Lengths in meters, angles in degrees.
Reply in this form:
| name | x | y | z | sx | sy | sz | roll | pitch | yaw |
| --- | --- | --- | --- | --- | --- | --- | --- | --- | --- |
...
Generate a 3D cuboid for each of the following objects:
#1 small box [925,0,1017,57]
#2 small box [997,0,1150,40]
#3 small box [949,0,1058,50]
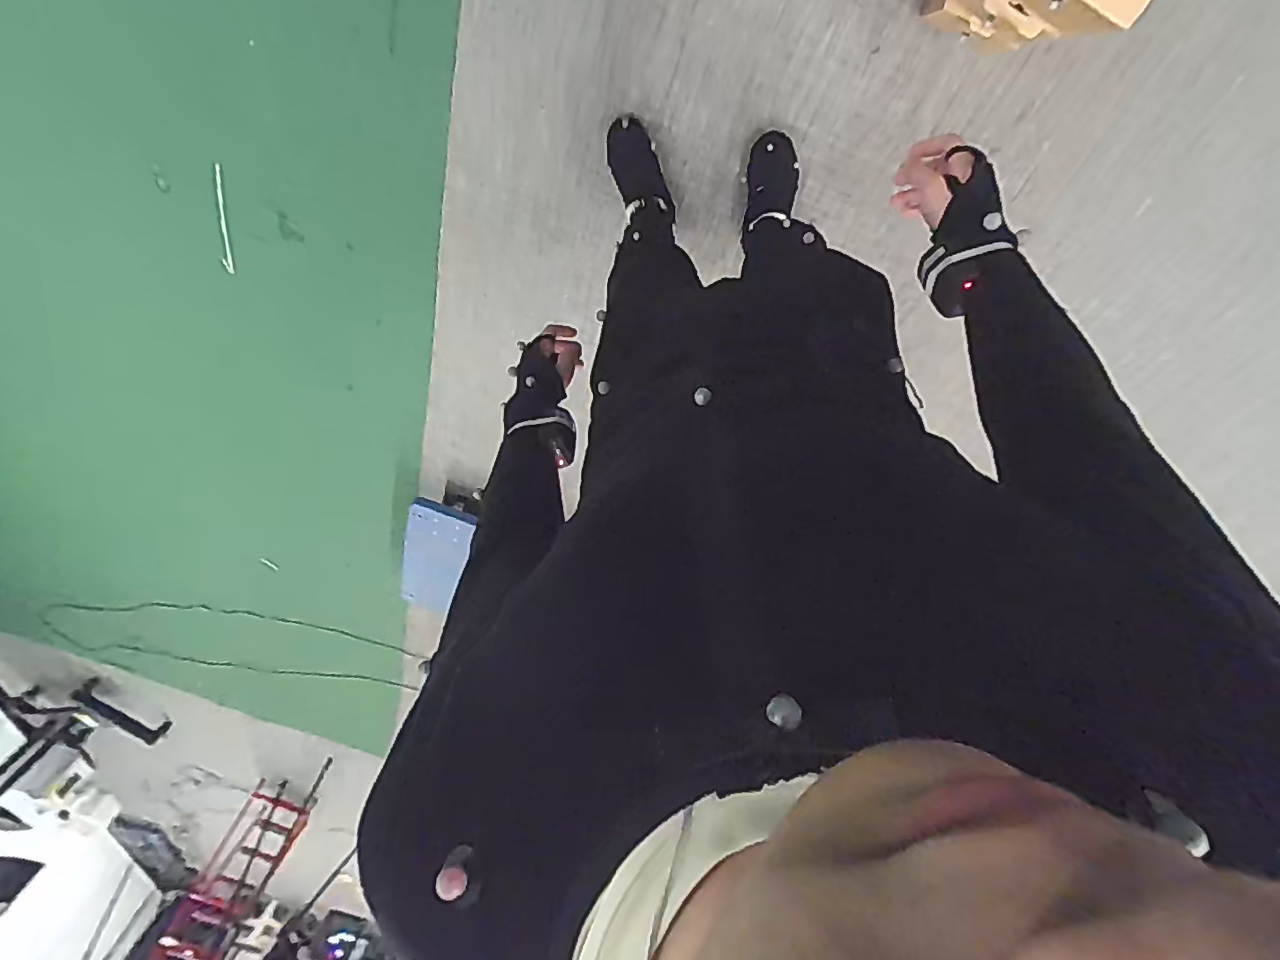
| name | x | y | z | sx | sy | sz | roll | pitch | yaw |
| --- | --- | --- | --- | --- | --- | --- | --- | --- | --- |
| small box | 0.659 | -0.918 | 1.000 | 0.168 | 0.176 | 0.179 | 22 | 127 | -5 |
| small box | 0.615 | -0.733 | 0.733 | 0.179 | 0.176 | 0.168 | 26 | 127 | -8 |
| small box | 0.636 | -0.831 | 0.863 | 0.168 | 0.176 | 0.179 | 26 | 126 | -7 |
